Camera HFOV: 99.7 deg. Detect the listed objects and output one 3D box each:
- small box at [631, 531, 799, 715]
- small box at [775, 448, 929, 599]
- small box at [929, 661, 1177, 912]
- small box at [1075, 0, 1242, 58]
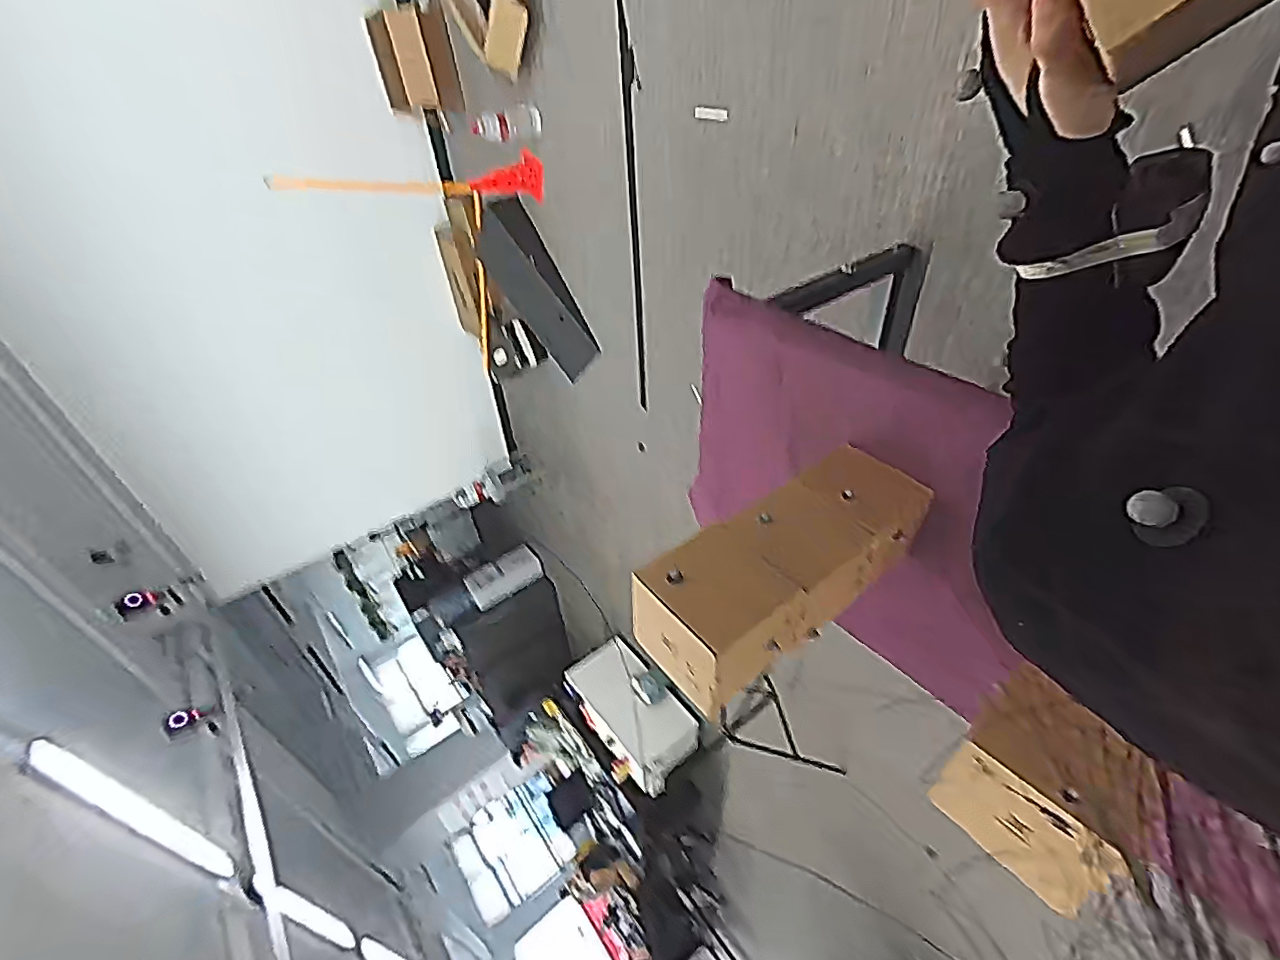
[{"bbox_3d":[0.105,0.200,0.807,0.179,0.176,0.168,38,145,37],"label":"small box"},{"bbox_3d":[0.369,0.068,0.954,0.179,0.176,0.168,40,145,37],"label":"small box"},{"bbox_3d":[0.492,0.363,0.658,0.168,0.176,0.179,35,144,40],"label":"small box"},{"bbox_3d":[0.228,-0.290,0.182,0.168,0.176,0.179,-21,99,48],"label":"small box"}]
